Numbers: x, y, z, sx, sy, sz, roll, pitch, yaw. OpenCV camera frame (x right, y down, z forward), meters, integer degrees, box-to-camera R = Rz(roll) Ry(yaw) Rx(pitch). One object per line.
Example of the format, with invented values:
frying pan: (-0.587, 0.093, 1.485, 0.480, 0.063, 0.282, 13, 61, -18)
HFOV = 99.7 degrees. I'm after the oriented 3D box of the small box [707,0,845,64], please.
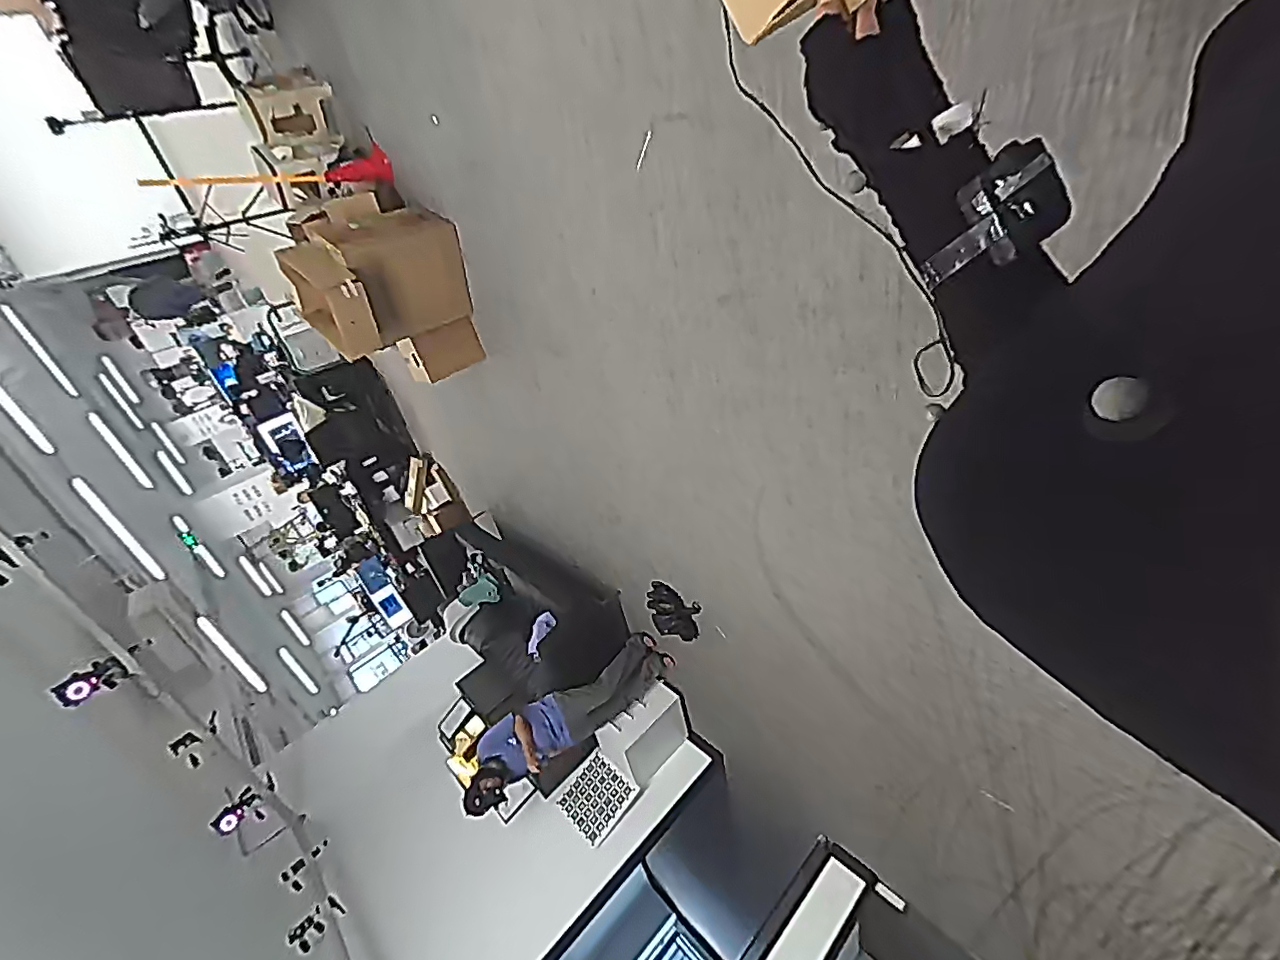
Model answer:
small box: (0.130, -0.457, 0.377, 0.179, 0.176, 0.168, 54, 157, -17)
